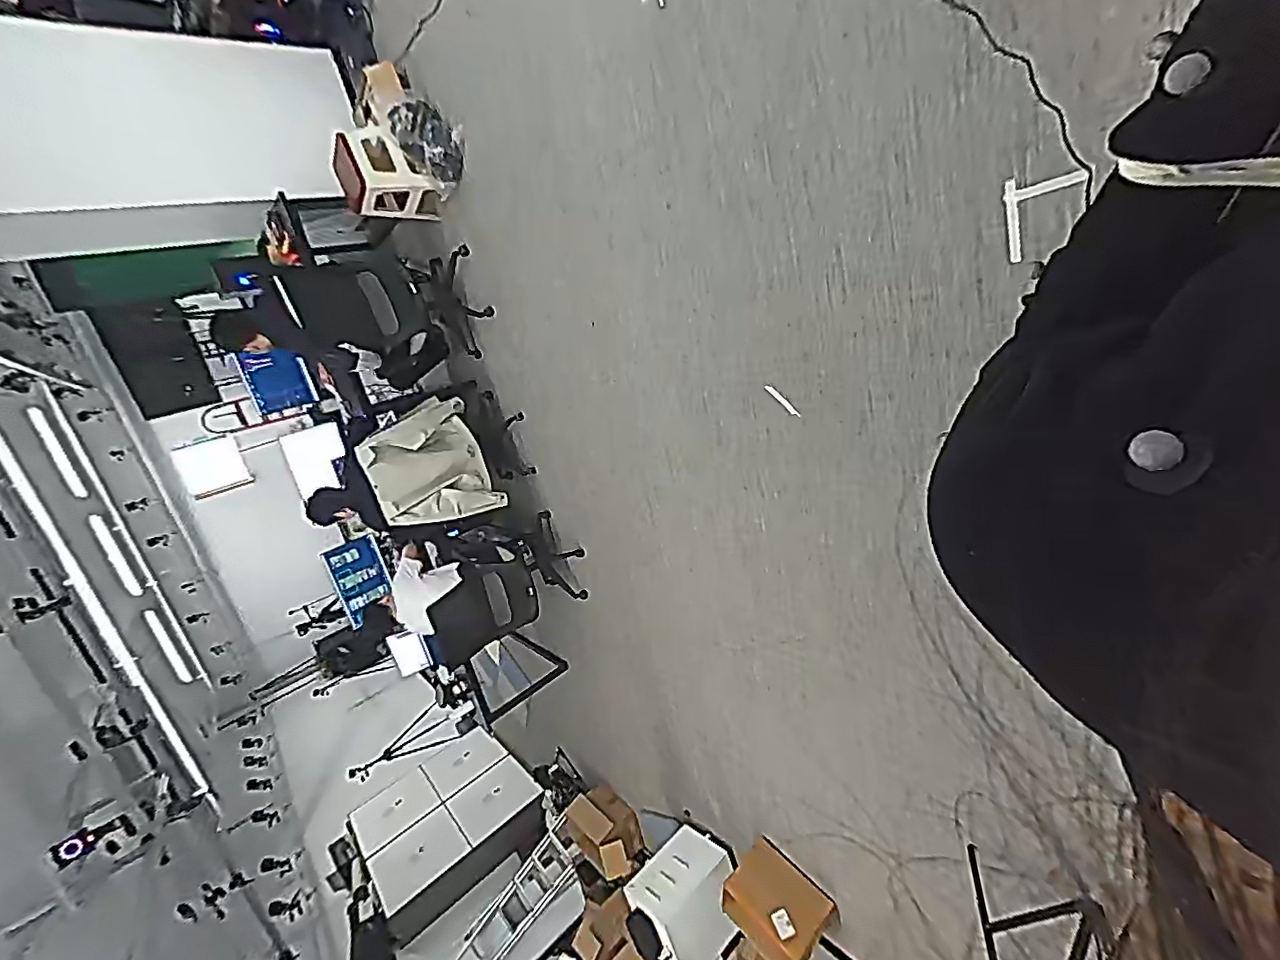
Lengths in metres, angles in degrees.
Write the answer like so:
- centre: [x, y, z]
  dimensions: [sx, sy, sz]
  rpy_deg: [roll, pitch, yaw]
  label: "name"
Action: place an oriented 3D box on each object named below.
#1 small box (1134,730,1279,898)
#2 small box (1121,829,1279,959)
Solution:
- centre: [0.633, 0.386, 0.537]
  dimensions: [0.179, 0.176, 0.168]
  rpy_deg: [12, 120, 48]
  label: "small box"
- centre: [0.510, 0.445, 0.446]
  dimensions: [0.168, 0.176, 0.179]
  rpy_deg: [12, 120, 49]
  label: "small box"
